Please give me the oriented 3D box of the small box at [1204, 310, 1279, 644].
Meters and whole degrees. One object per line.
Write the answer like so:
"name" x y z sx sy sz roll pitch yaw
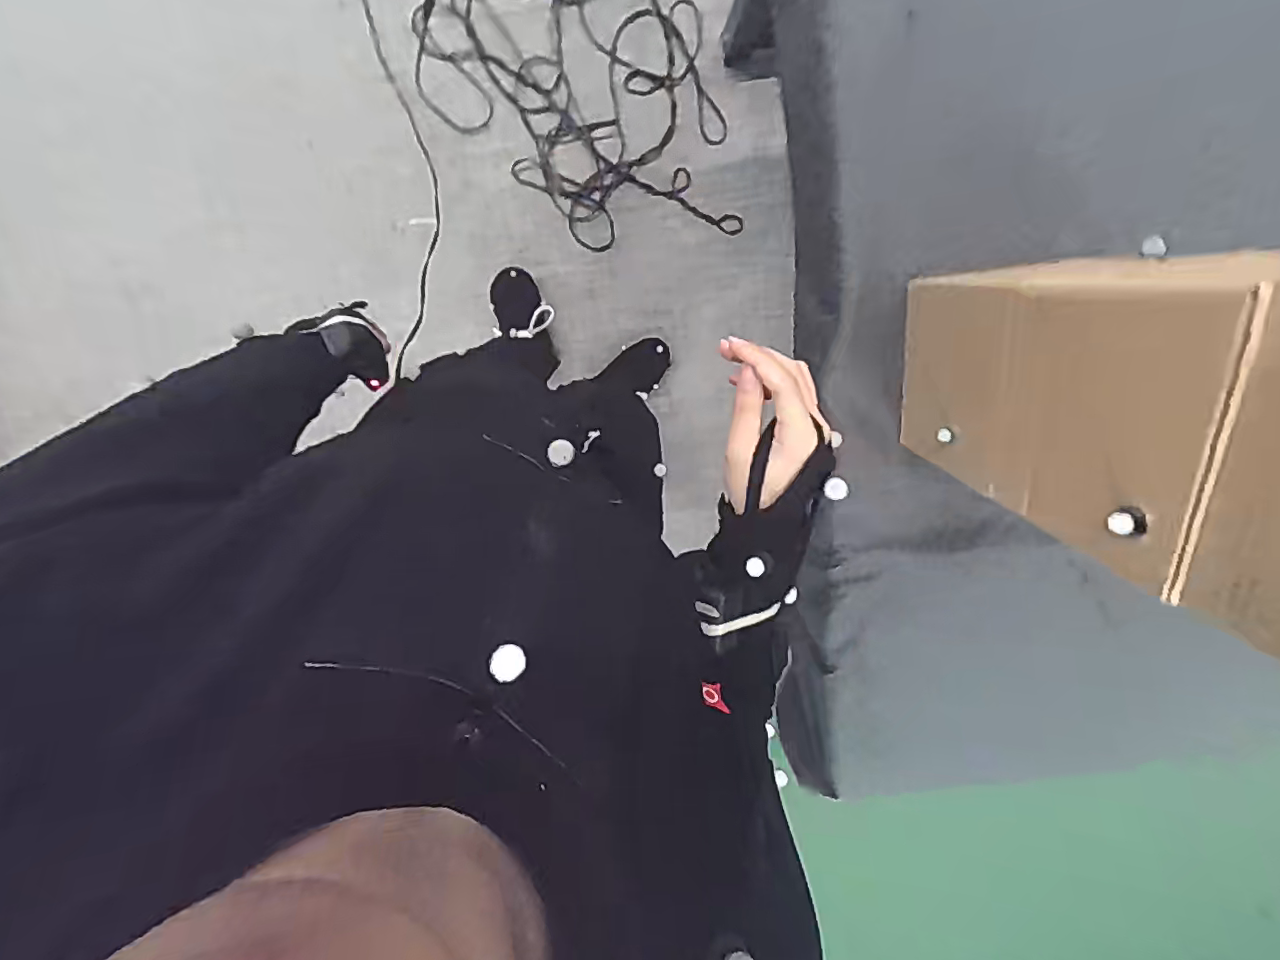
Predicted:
"small box" 0.376 0.010 0.194 0.168 0.176 0.179 -7 110 0

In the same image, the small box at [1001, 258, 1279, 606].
"small box" 0.370 -0.045 0.347 0.168 0.176 0.179 -6 111 2
